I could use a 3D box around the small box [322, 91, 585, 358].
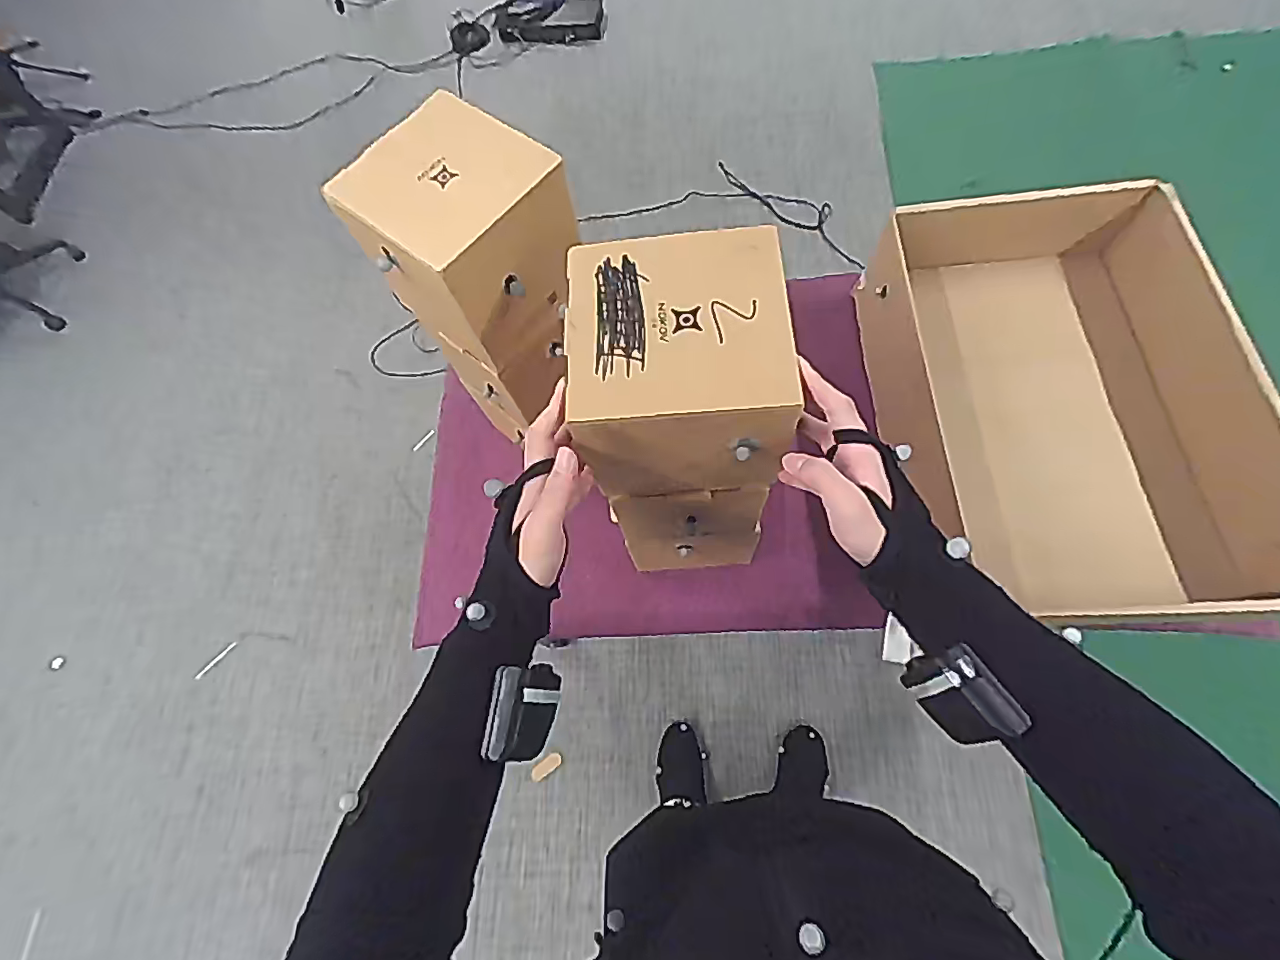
[{"bbox_3d":[-0.182,-0.260,0.584,0.179,0.176,0.168,37,77,16],"label":"small box"}]

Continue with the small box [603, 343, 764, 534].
[{"bbox_3d":[0.050,-0.037,0.647,0.168,0.176,0.179,-4,69,4],"label":"small box"}]

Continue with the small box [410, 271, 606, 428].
[{"bbox_3d":[-0.163,-0.201,0.734,0.168,0.176,0.179,38,77,16],"label":"small box"}]

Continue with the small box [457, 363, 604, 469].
[{"bbox_3d":[-0.154,-0.138,0.884,0.179,0.176,0.168,38,76,17],"label":"small box"}]

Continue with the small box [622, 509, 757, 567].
[{"bbox_3d":[0.068,0.027,0.797,0.179,0.176,0.168,-6,68,3],"label":"small box"}]
